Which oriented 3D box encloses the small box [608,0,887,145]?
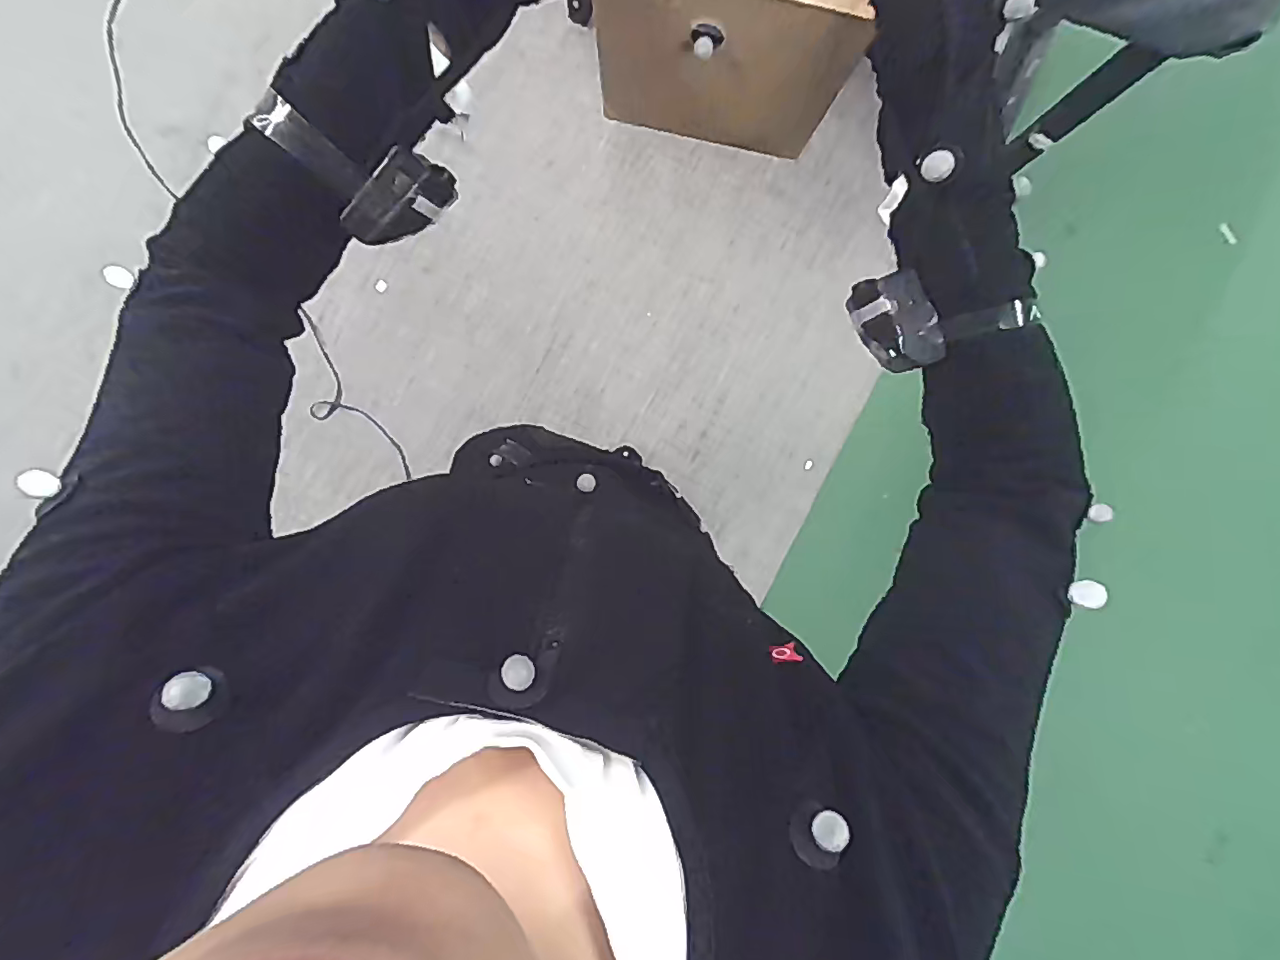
[{"bbox_3d":[0.074,-0.374,0.384,0.179,0.176,0.168,11,96,-2],"label":"small box"}]
